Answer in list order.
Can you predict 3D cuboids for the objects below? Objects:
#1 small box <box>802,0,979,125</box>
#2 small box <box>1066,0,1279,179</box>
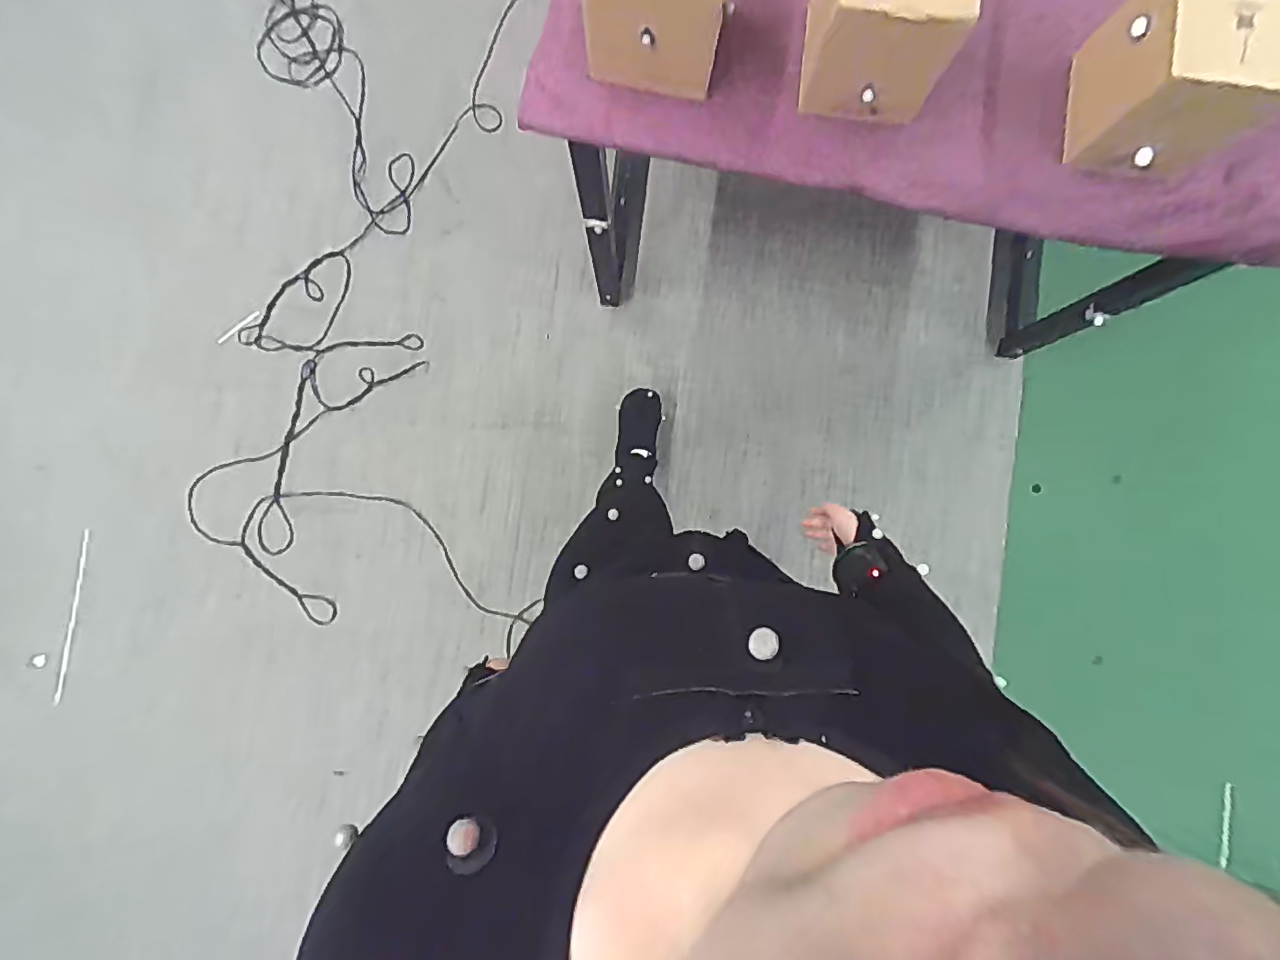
[{"bbox_3d":[0.324,-0.623,0.721,0.168,0.176,0.179,6,85,1],"label":"small box"},{"bbox_3d":[0.710,-0.540,0.715,0.168,0.176,0.179,8,87,1],"label":"small box"}]
